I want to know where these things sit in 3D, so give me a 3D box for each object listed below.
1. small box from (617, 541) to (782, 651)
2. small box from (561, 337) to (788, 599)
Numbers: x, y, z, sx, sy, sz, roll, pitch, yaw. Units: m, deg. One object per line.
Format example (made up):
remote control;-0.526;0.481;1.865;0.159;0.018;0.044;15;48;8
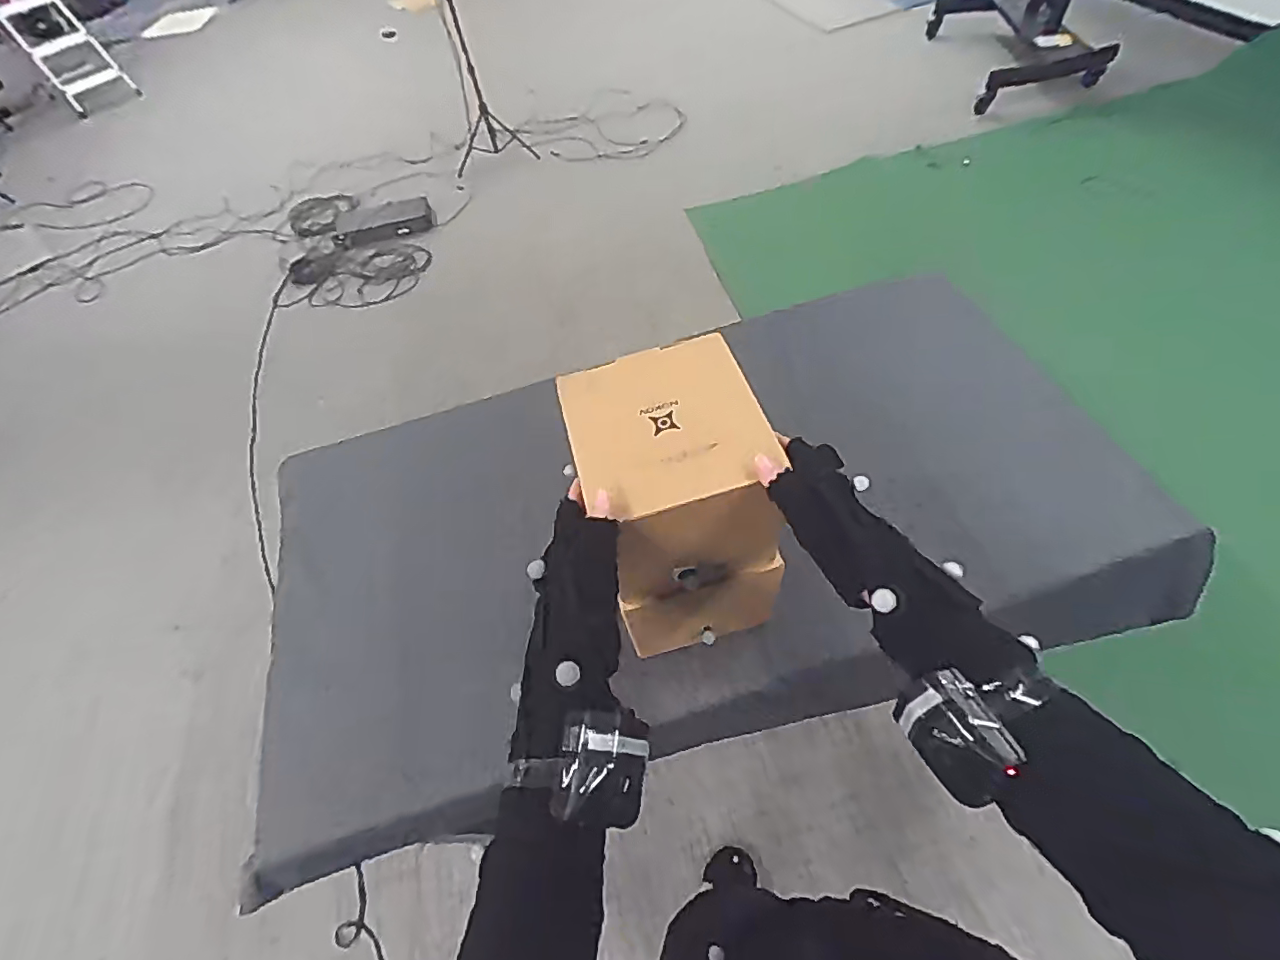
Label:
small box;0.054;0.091;0.669;0.179;0.176;0.168;-15;55;-3
small box;0.029;-0.007;0.540;0.168;0.176;0.179;-16;56;-2
